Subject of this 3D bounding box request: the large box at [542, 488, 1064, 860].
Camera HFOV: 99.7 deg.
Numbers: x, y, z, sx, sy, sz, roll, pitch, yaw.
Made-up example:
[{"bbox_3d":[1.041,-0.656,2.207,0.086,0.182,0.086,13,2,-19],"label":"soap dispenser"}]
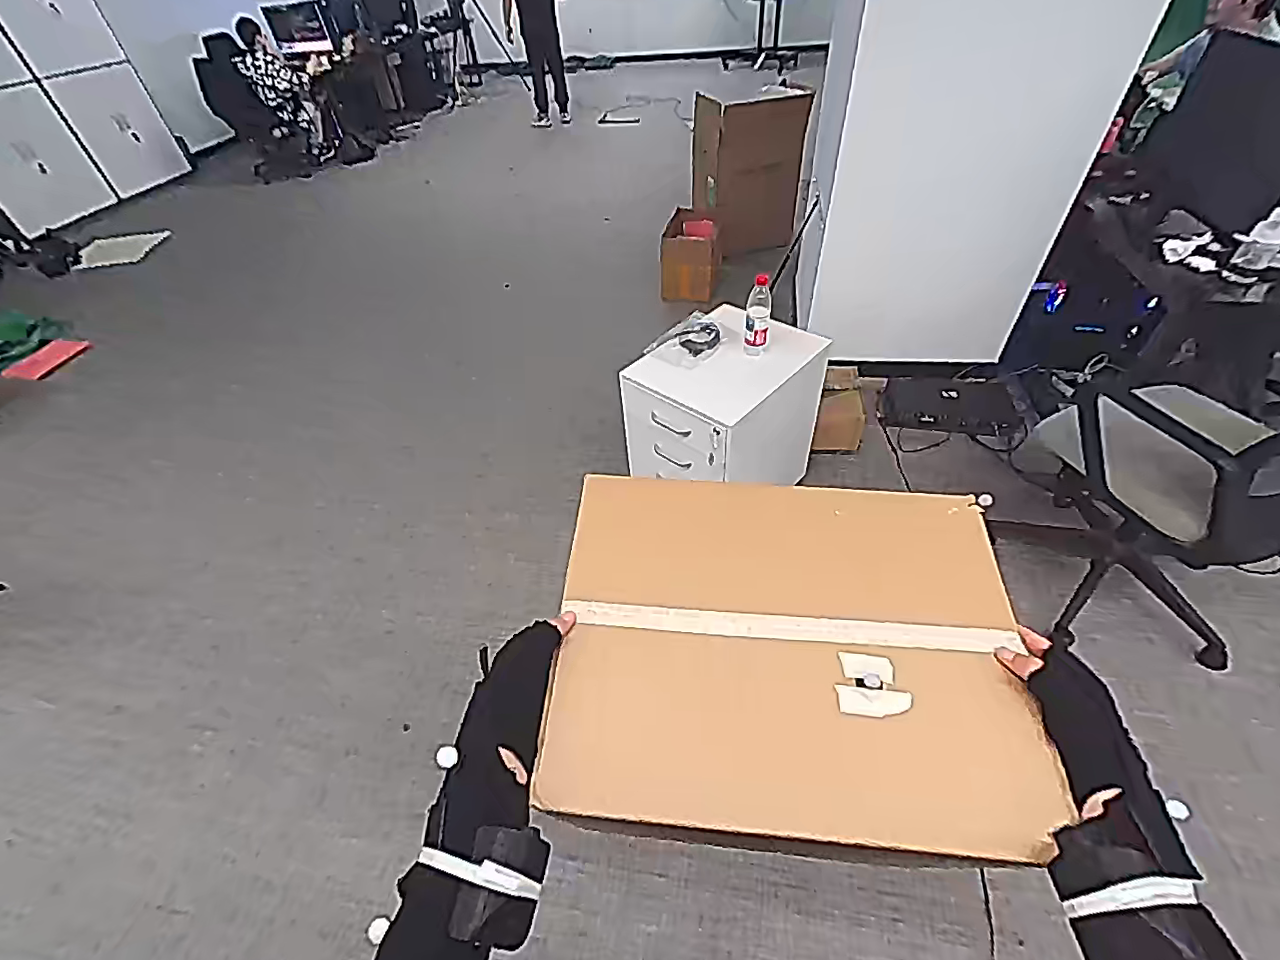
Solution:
[{"bbox_3d":[0.133,0.228,0.617,0.408,0.320,0.320,4,56,5],"label":"large box"}]
